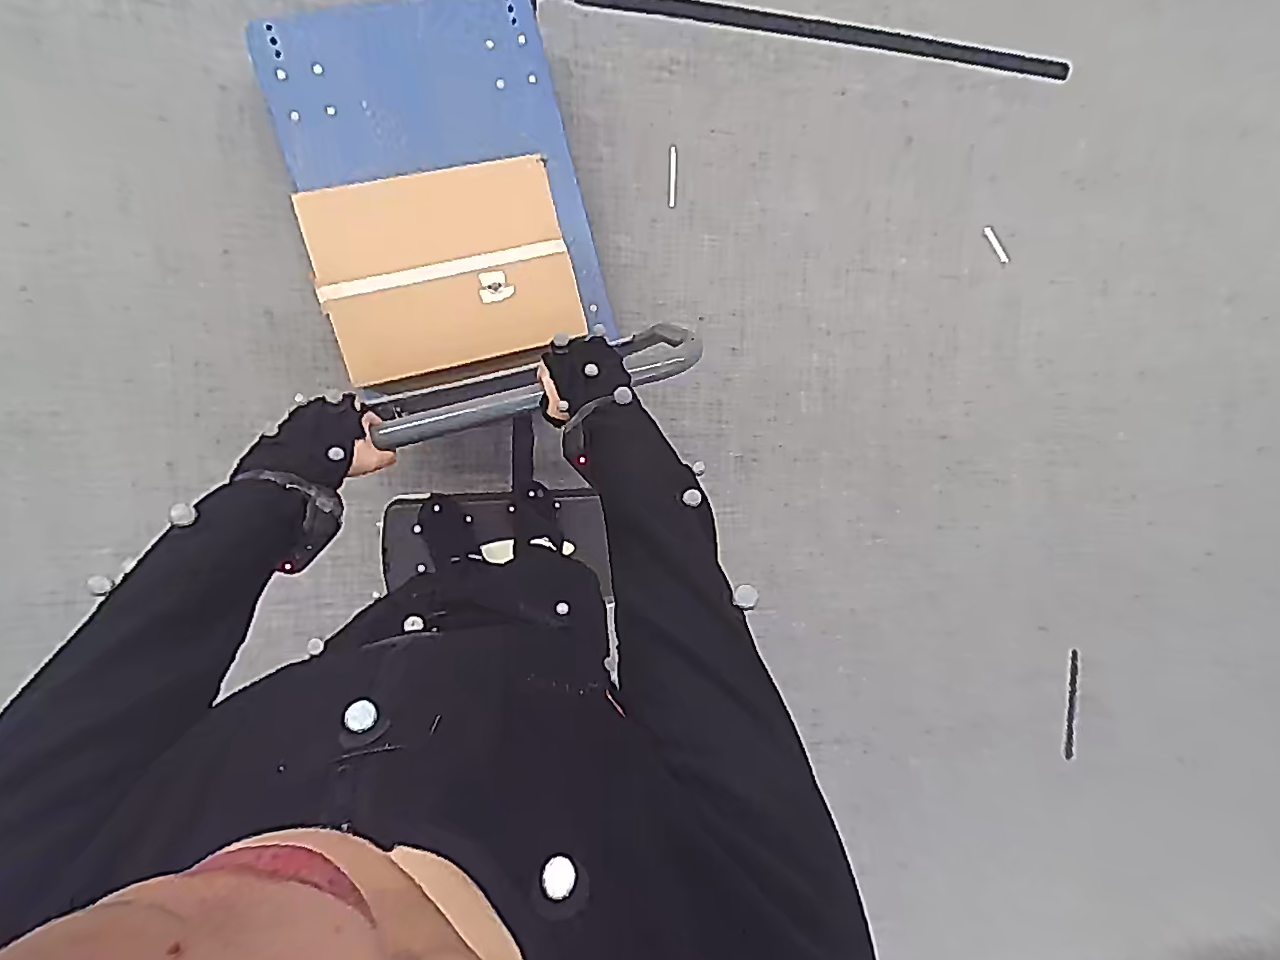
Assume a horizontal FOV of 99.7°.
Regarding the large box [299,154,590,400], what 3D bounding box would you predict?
[{"bbox_3d":[-0.346,-0.364,1.047,0.408,0.320,0.320,-16,98,-11],"label":"large box"}]
